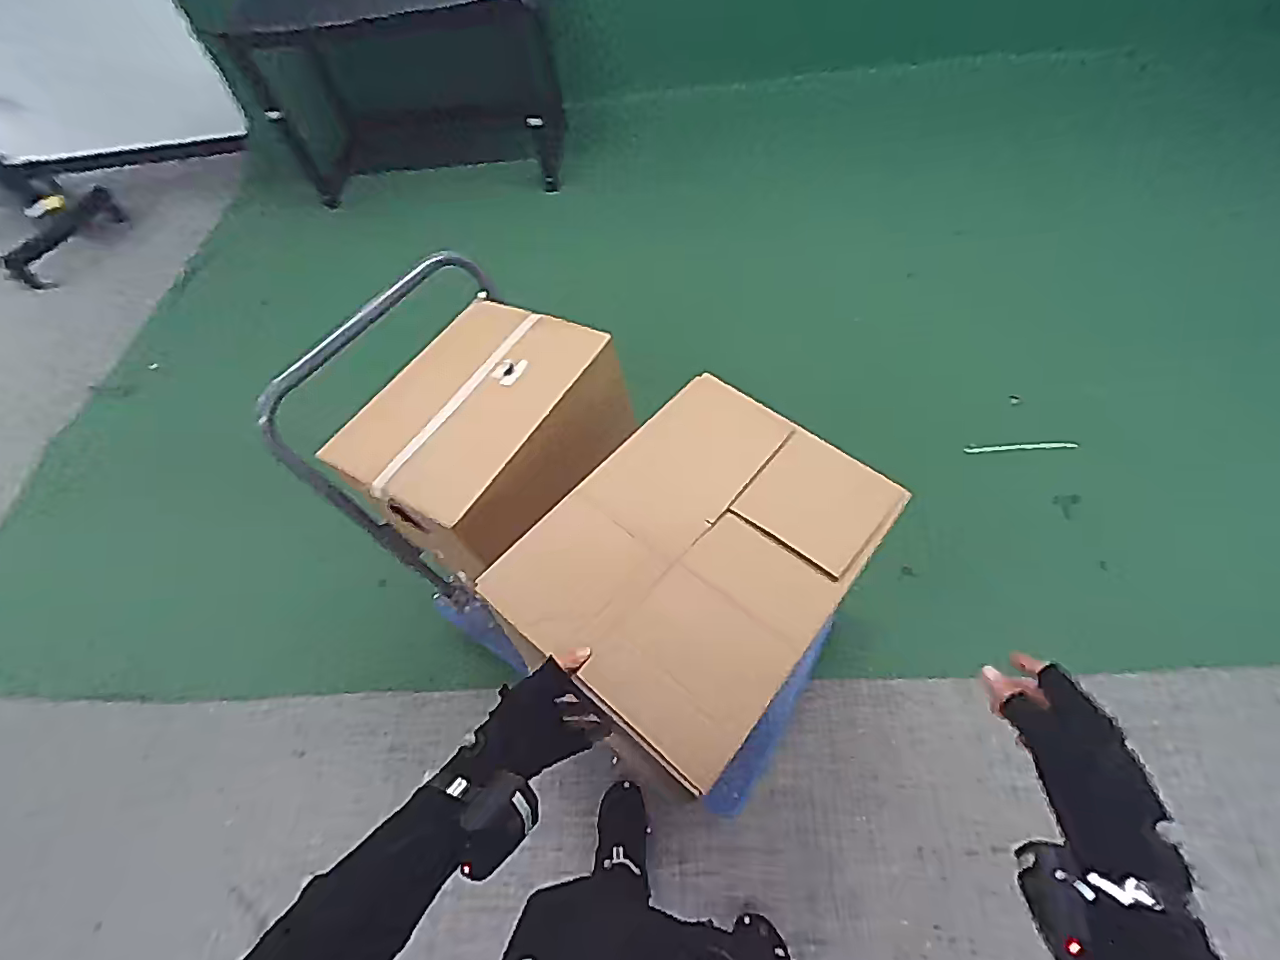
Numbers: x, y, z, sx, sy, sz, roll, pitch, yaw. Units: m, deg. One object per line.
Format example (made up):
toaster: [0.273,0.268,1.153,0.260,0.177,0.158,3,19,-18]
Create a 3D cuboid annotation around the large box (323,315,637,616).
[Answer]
large box: [-0.254,-0.032,0.992,0.320,0.320,0.408,22,61,25]
